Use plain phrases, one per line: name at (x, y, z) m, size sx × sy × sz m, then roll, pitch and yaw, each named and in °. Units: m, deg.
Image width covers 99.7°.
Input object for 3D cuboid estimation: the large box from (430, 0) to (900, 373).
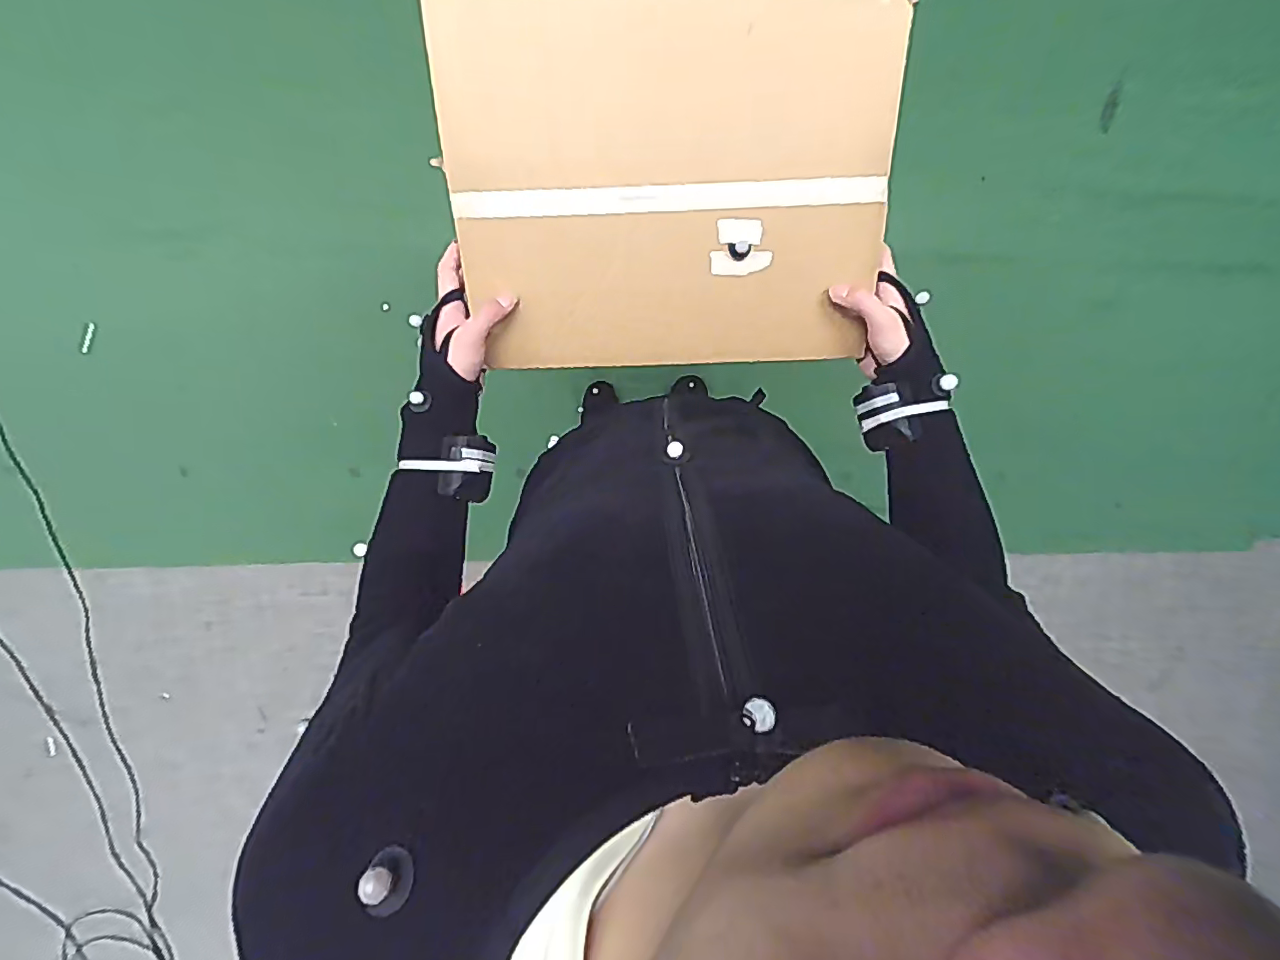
large box at (0.023, -0.325, 0.646) m, size 0.408 × 0.320 × 0.320 m, roll -3°, pitch 116°, yaw -1°
